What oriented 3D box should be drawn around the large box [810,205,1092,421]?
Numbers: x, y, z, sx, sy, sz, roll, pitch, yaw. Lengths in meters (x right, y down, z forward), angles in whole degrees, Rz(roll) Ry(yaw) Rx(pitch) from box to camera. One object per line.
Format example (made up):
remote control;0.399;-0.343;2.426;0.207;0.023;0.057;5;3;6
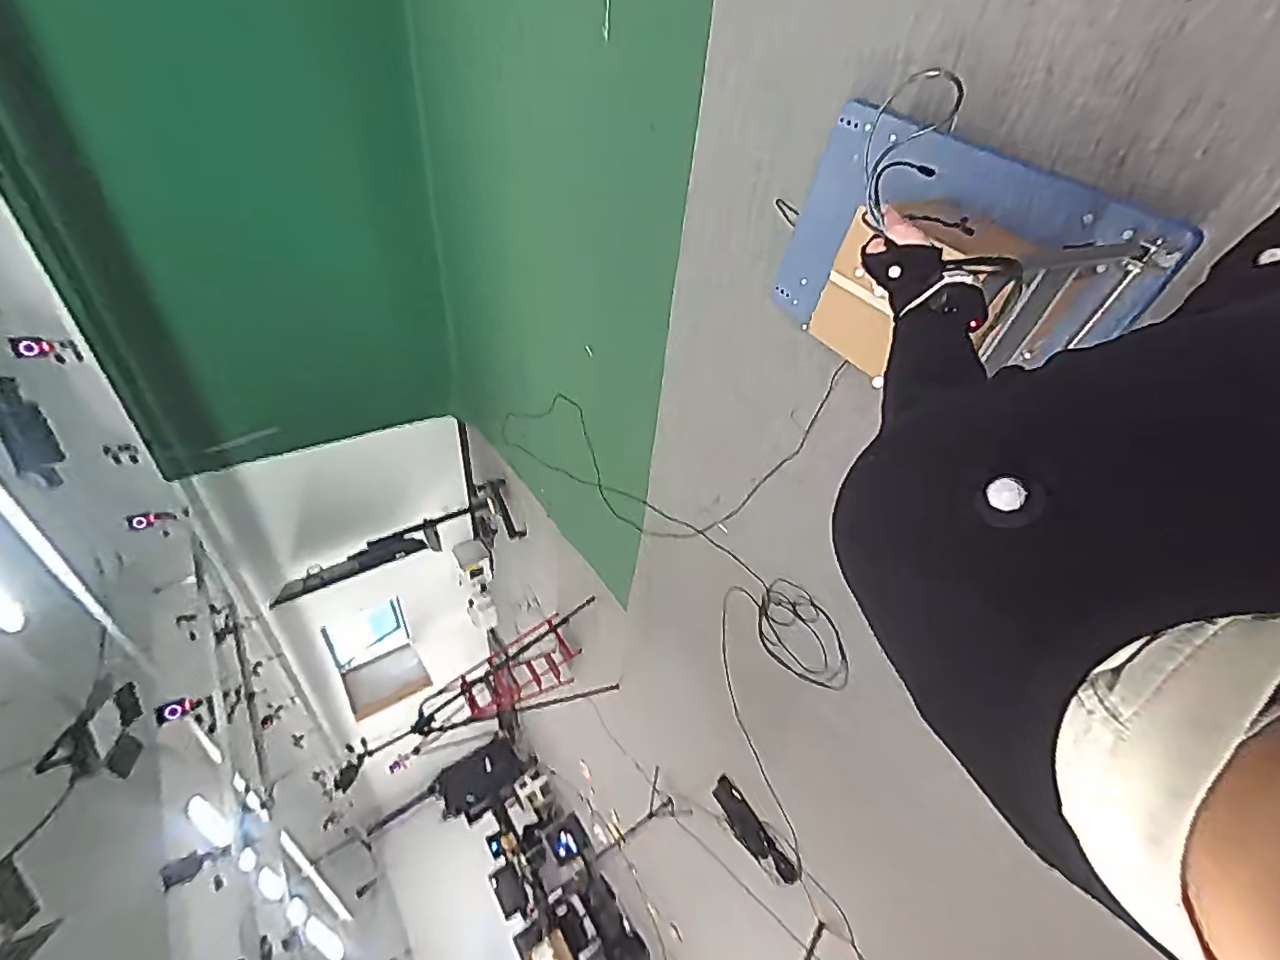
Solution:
large box;0.691;-0.400;1.251;0.408;0.320;0.320;50;143;31
